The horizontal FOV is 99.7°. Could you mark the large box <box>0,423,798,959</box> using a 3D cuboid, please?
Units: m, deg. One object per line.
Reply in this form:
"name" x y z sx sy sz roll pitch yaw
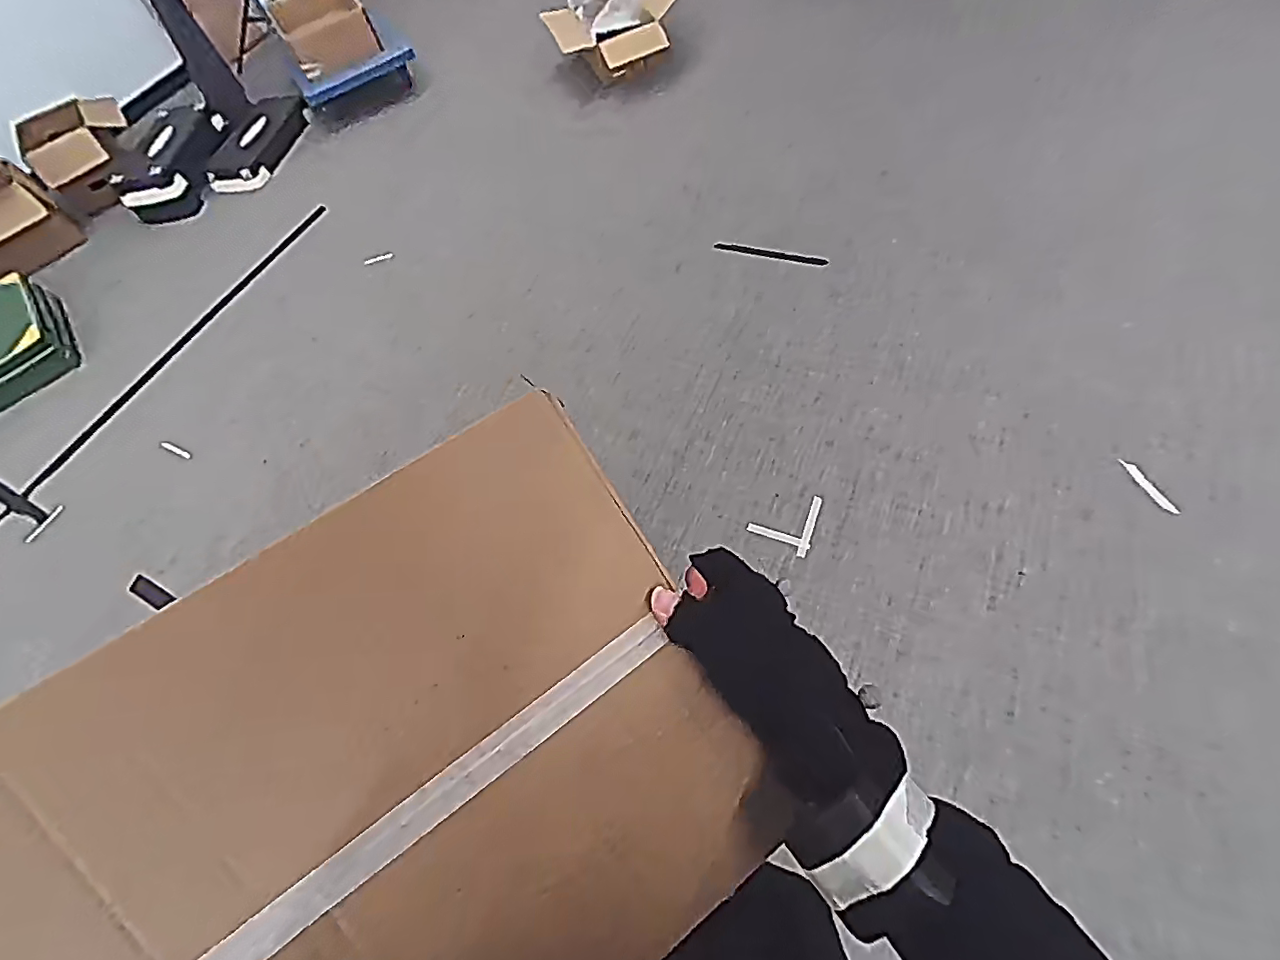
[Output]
"large box" -0.168 0.205 0.436 0.408 0.320 0.320 -35 95 -14
